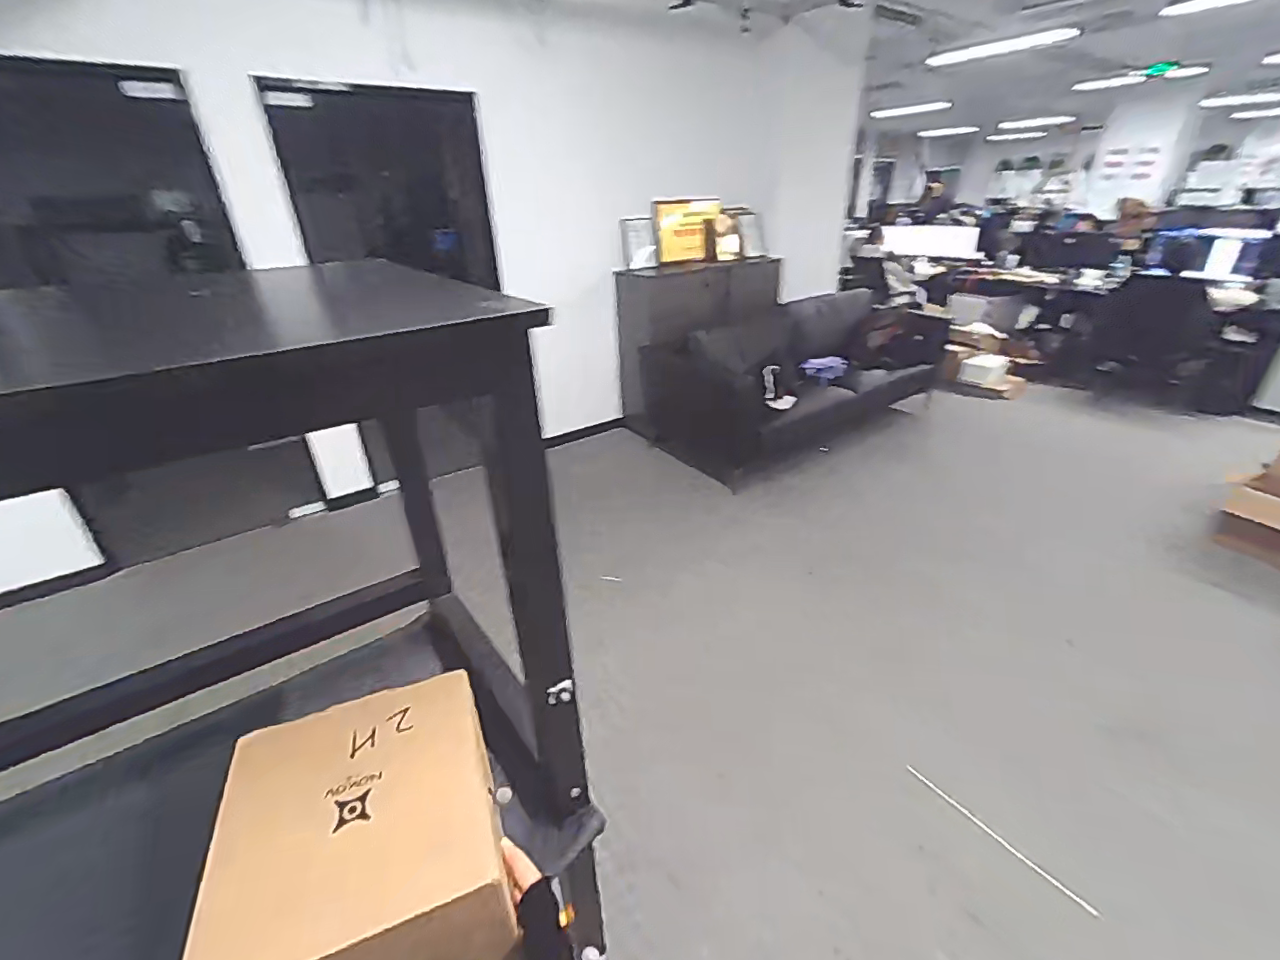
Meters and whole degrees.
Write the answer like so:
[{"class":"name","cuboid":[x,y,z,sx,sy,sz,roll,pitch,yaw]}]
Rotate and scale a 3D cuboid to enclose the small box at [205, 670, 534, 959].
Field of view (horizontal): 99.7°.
[{"class":"small box","cuboid":[-0.184,0.288,0.411,0.168,0.176,0.179,-12,31,-19]}]
